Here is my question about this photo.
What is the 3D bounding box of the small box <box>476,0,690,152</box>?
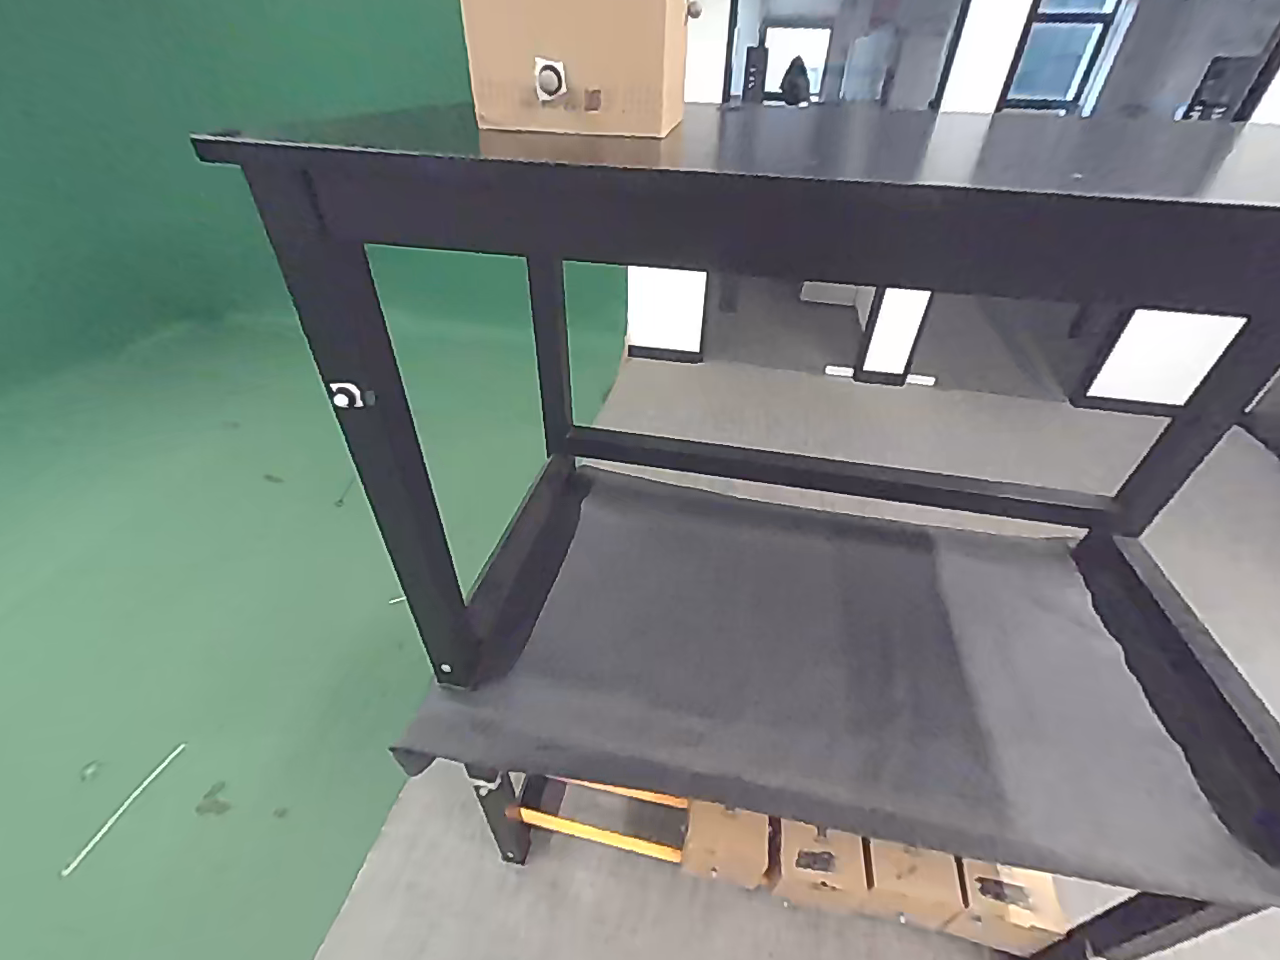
[{"bbox_3d":[-0.044,-0.411,0.492,0.168,0.176,0.179,5,39,6],"label":"small box"}]
